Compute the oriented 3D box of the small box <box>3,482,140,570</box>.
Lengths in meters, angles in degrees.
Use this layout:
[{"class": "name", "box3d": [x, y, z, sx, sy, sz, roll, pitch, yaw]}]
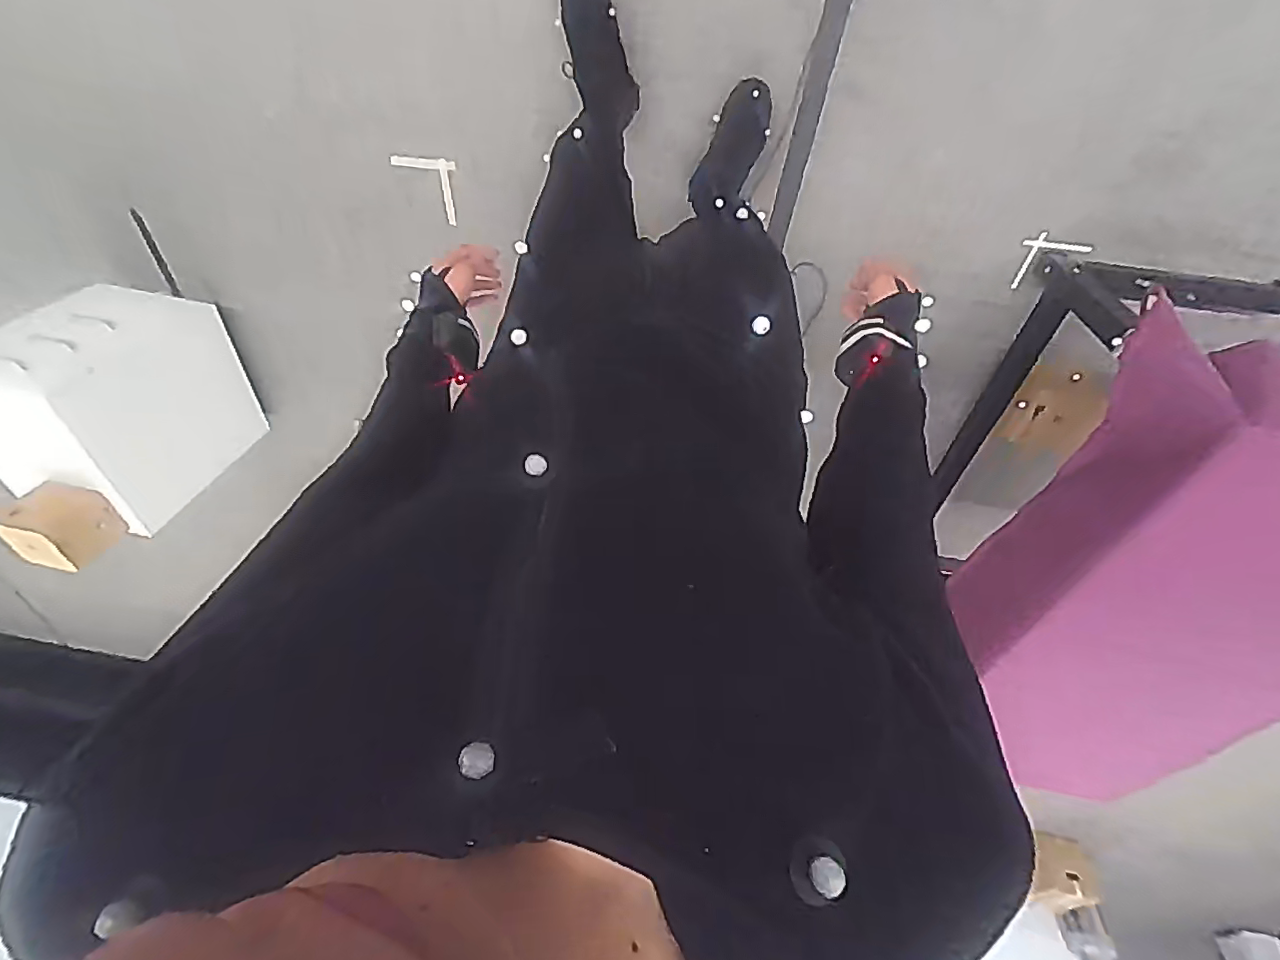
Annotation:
[{"class": "small box", "box3d": [-1.616, 0.127, 1.551, 0.179, 0.176, 0.168, 11, 133, 4]}]
